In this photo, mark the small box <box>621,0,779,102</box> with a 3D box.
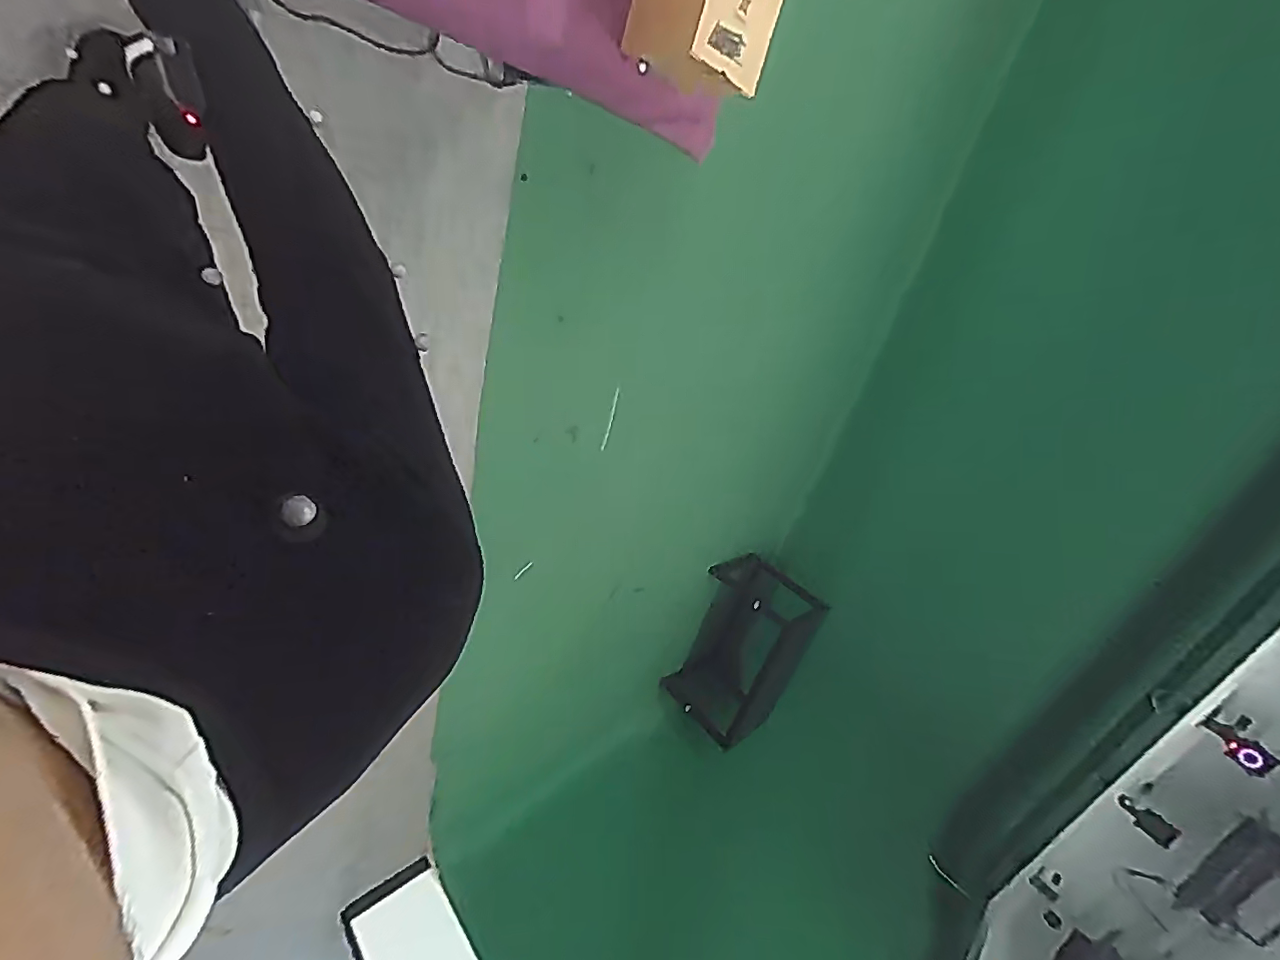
[{"bbox_3d":[0.092,-0.747,0.871,0.168,0.176,0.179,-7,123,-46],"label":"small box"}]
